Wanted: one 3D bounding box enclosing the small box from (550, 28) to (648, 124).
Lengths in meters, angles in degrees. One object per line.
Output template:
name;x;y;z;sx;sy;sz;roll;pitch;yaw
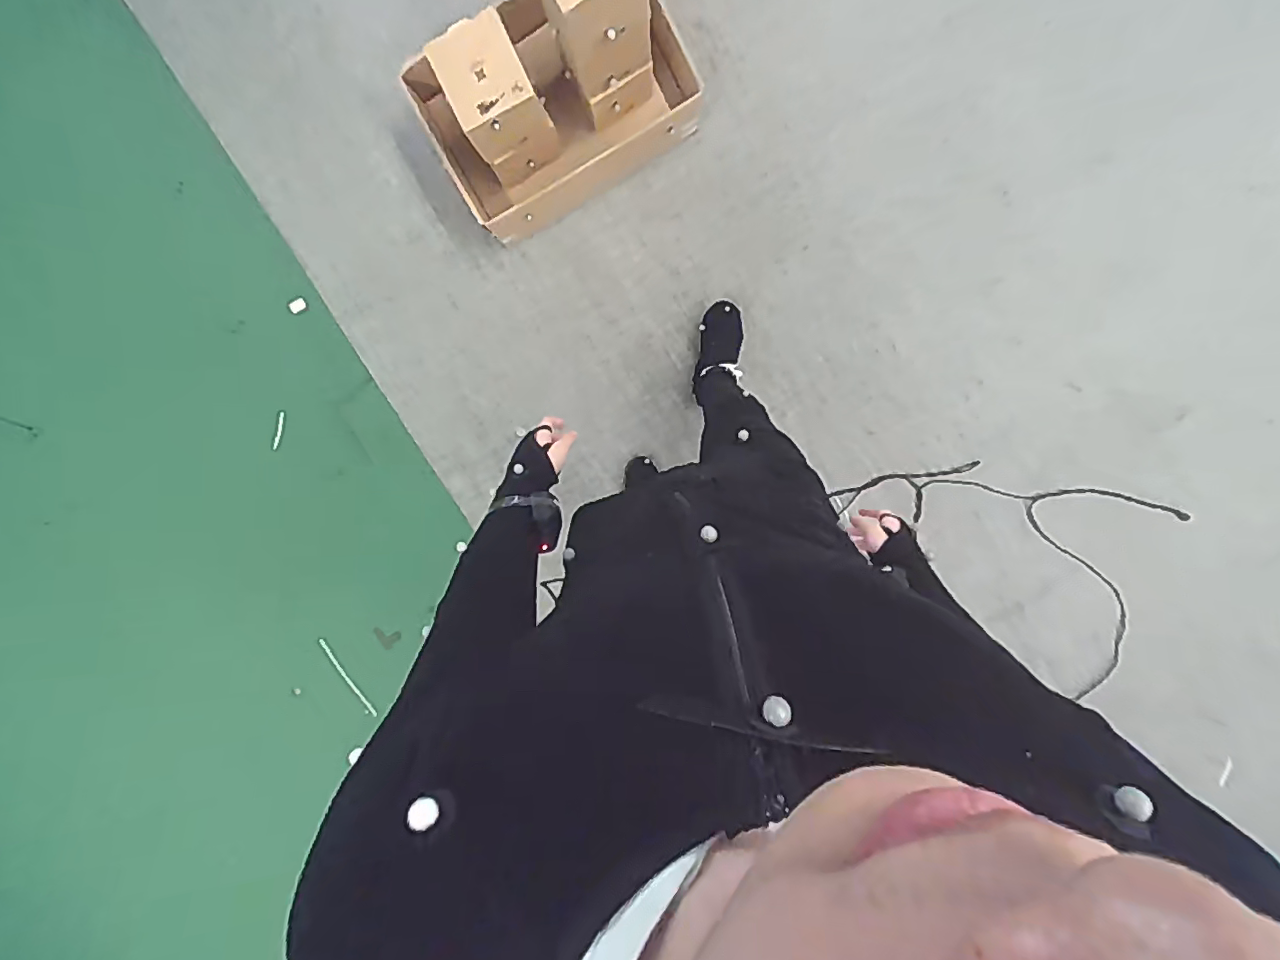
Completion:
small box;-0.088;-0.993;1.293;0.168;0.176;0.179;-29;99;7

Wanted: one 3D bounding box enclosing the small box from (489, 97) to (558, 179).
small box;-0.317;-0.868;1.319;0.168;0.176;0.179;-30;100;5

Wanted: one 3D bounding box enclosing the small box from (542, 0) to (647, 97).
small box;-0.096;-0.962;1.132;0.168;0.176;0.179;-27;100;8

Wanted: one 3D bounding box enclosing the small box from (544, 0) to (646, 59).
small box;-0.100;-0.924;0.973;0.168;0.176;0.179;-28;100;8

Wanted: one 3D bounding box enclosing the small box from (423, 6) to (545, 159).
small box;-0.323;-0.836;1.157;0.168;0.176;0.179;-25;99;6
